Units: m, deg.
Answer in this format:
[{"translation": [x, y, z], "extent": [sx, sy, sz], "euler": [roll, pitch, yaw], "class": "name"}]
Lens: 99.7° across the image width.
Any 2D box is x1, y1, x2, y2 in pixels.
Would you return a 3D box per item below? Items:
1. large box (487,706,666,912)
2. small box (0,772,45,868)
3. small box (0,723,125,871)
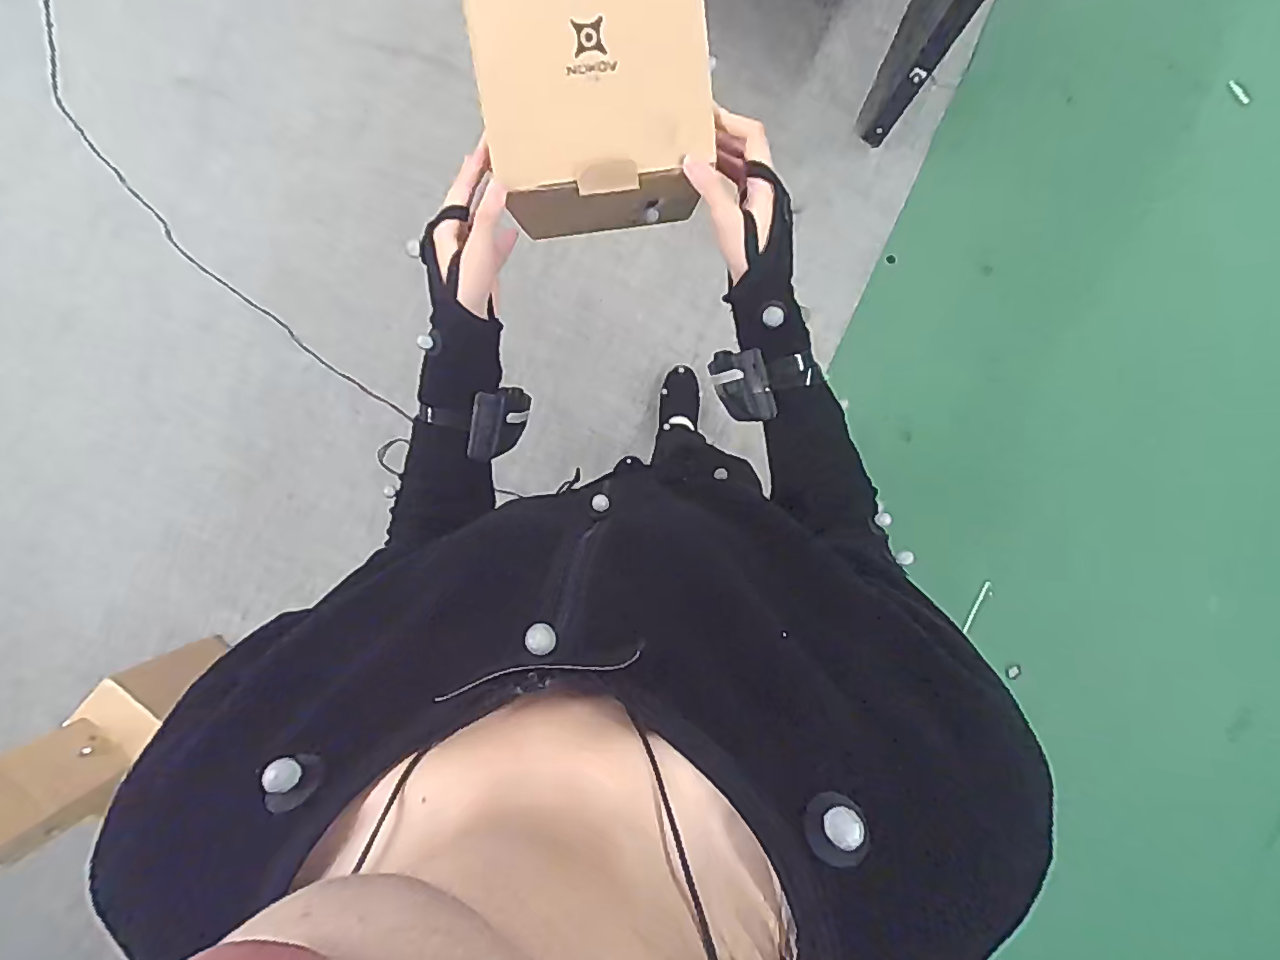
[{"translation": [-0.160, 0.824, 1.401], "extent": [0.408, 0.320, 0.320], "euler": [10, 93, -1], "class": "large box"}, {"translation": [-1.308, 0.679, 1.012], "extent": [0.179, 0.176, 0.168], "euler": [44, 94, -1], "class": "small box"}, {"translation": [-1.296, 0.676, 1.173], "extent": [0.168, 0.176, 0.179], "euler": [43, 94, -1], "class": "small box"}]
